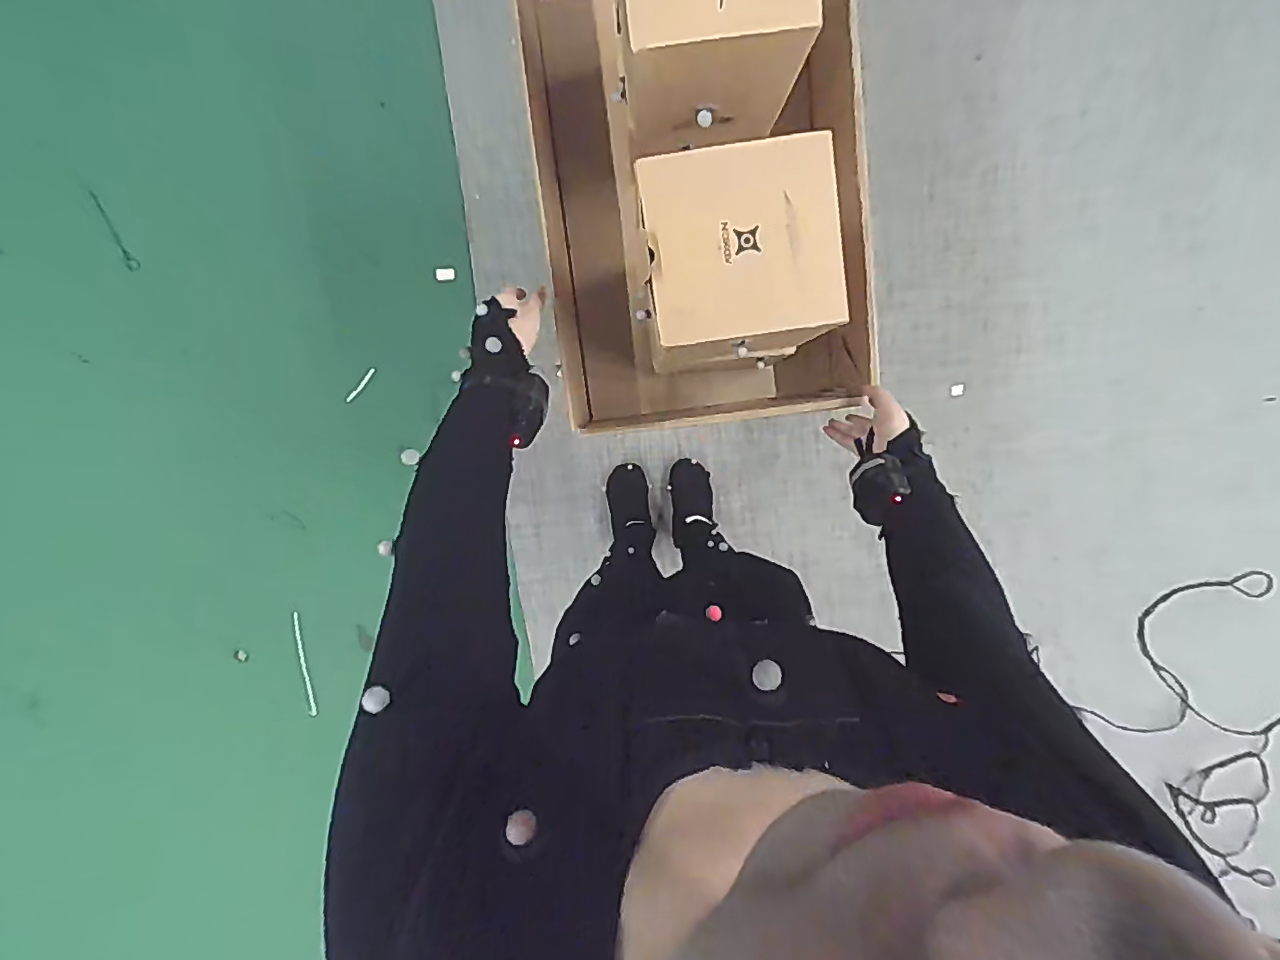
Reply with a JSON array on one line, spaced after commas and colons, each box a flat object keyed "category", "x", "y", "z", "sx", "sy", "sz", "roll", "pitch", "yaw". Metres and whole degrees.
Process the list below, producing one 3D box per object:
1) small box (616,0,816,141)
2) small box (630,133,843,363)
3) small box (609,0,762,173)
[{"category": "small box", "x": 0.061, "y": -0.469, "z": 0.527, "sx": 0.168, "sy": 0.176, "sz": 0.179, "roll": -6, "pitch": 99, "yaw": 1}, {"category": "small box", "x": 0.089, "y": -0.221, "z": 0.562, "sx": 0.179, "sy": 0.176, "sz": 0.168, "roll": -9, "pitch": 97, "yaw": 1}, {"category": "small box", "x": 0.062, "y": -0.497, "z": 0.690, "sx": 0.179, "sy": 0.176, "sz": 0.168, "roll": -6, "pitch": 99, "yaw": 2}]
